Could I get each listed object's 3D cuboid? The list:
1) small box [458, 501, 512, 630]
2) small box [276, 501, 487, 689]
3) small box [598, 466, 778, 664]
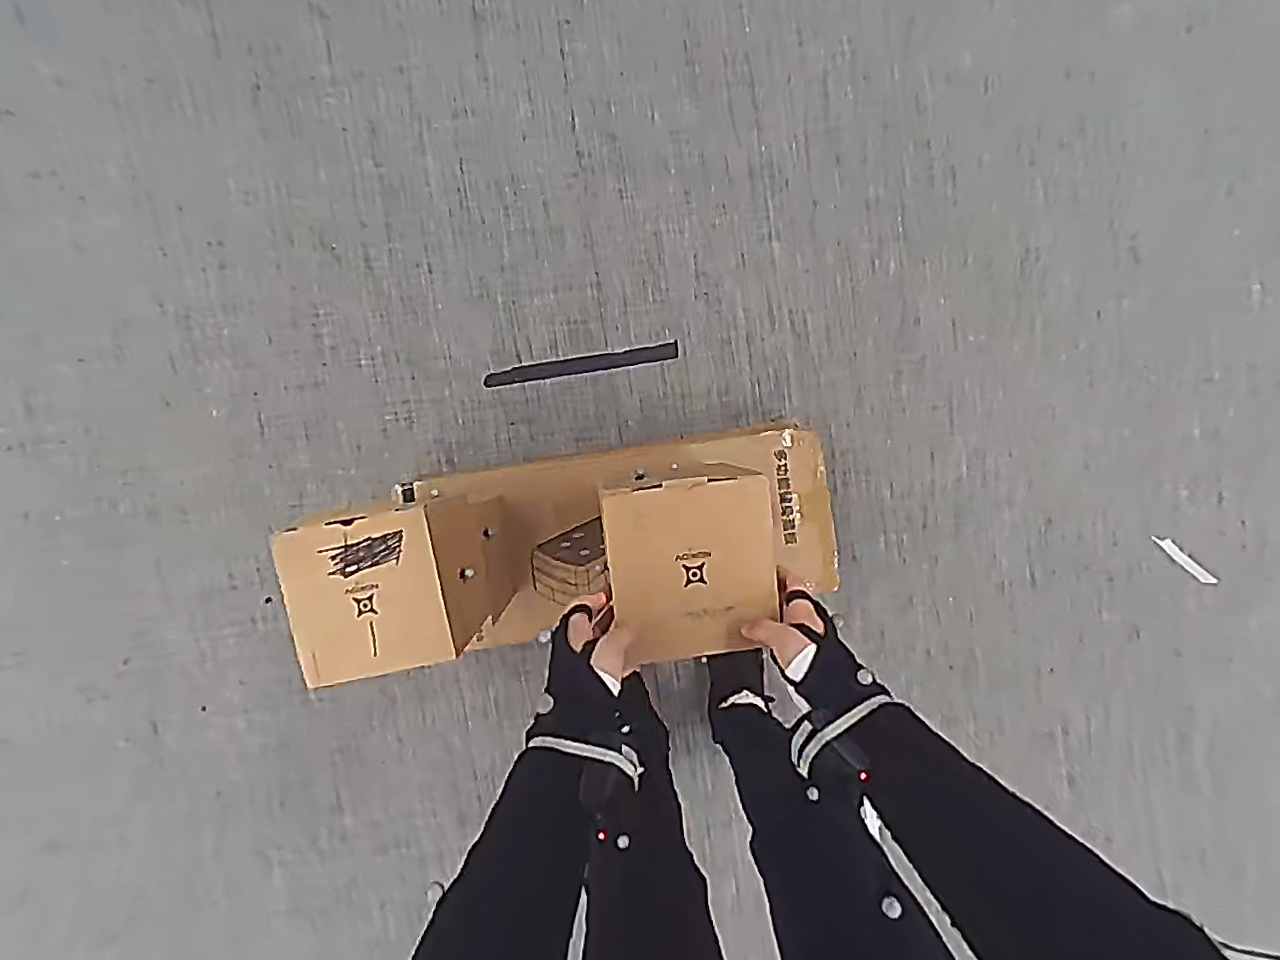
[{"bbox_3d":[-0.303,0.129,0.827,0.168,0.176,0.179,-9,94,-2],"label":"small box"},{"bbox_3d":[-0.299,0.124,0.663,0.168,0.176,0.179,-10,94,-2],"label":"small box"},{"bbox_3d":[0.043,0.080,0.611,0.168,0.176,0.179,-7,97,-4],"label":"small box"}]
